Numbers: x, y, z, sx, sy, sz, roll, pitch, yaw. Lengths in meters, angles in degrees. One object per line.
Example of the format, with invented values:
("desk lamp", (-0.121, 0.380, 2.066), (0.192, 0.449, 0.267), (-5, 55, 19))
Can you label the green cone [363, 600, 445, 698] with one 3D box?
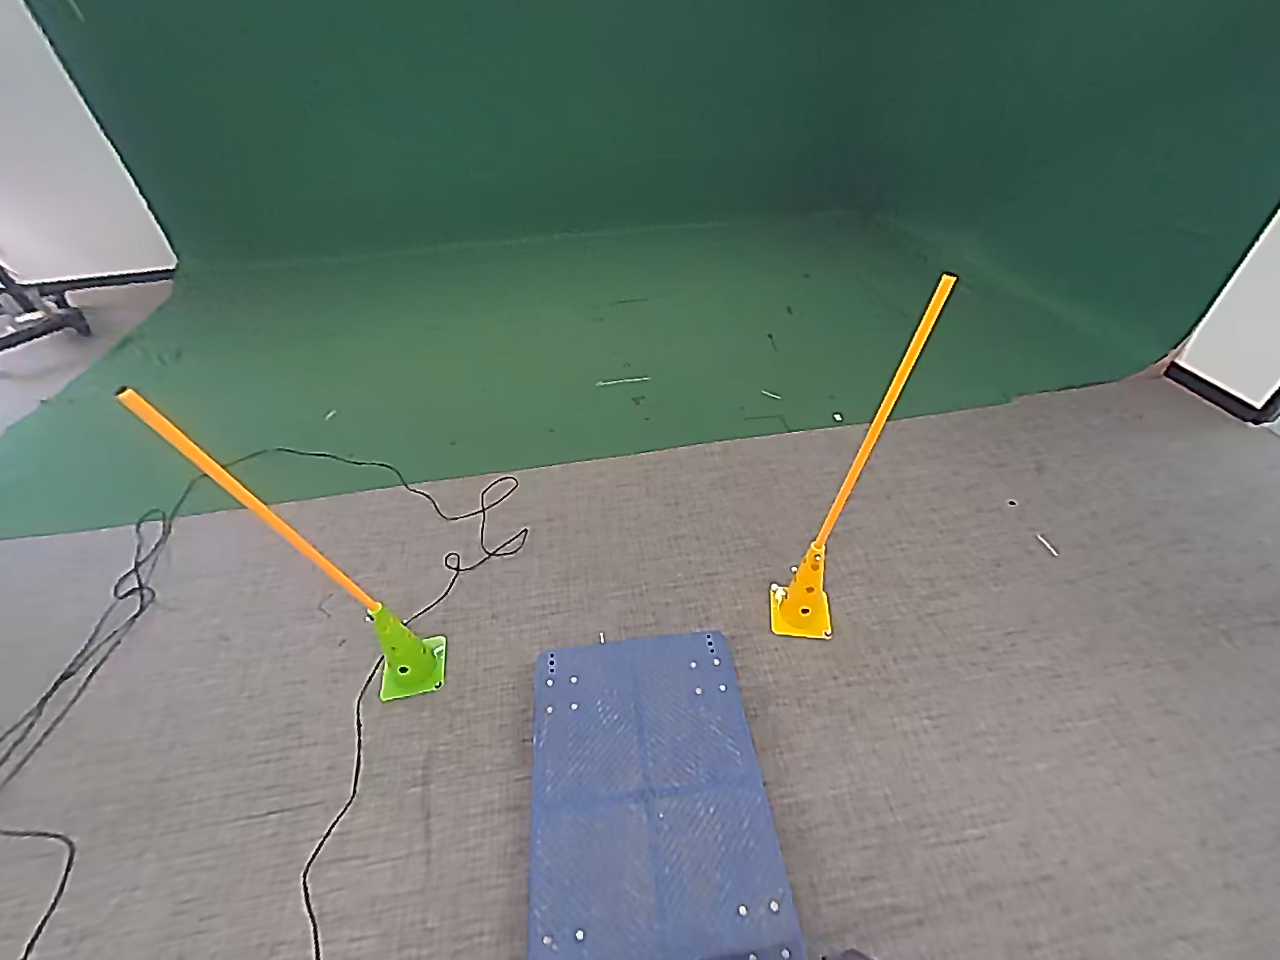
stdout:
("green cone", (-0.769, 0.492, 1.695), (0.202, 0.368, 0.200), (-12, 43, -7))
